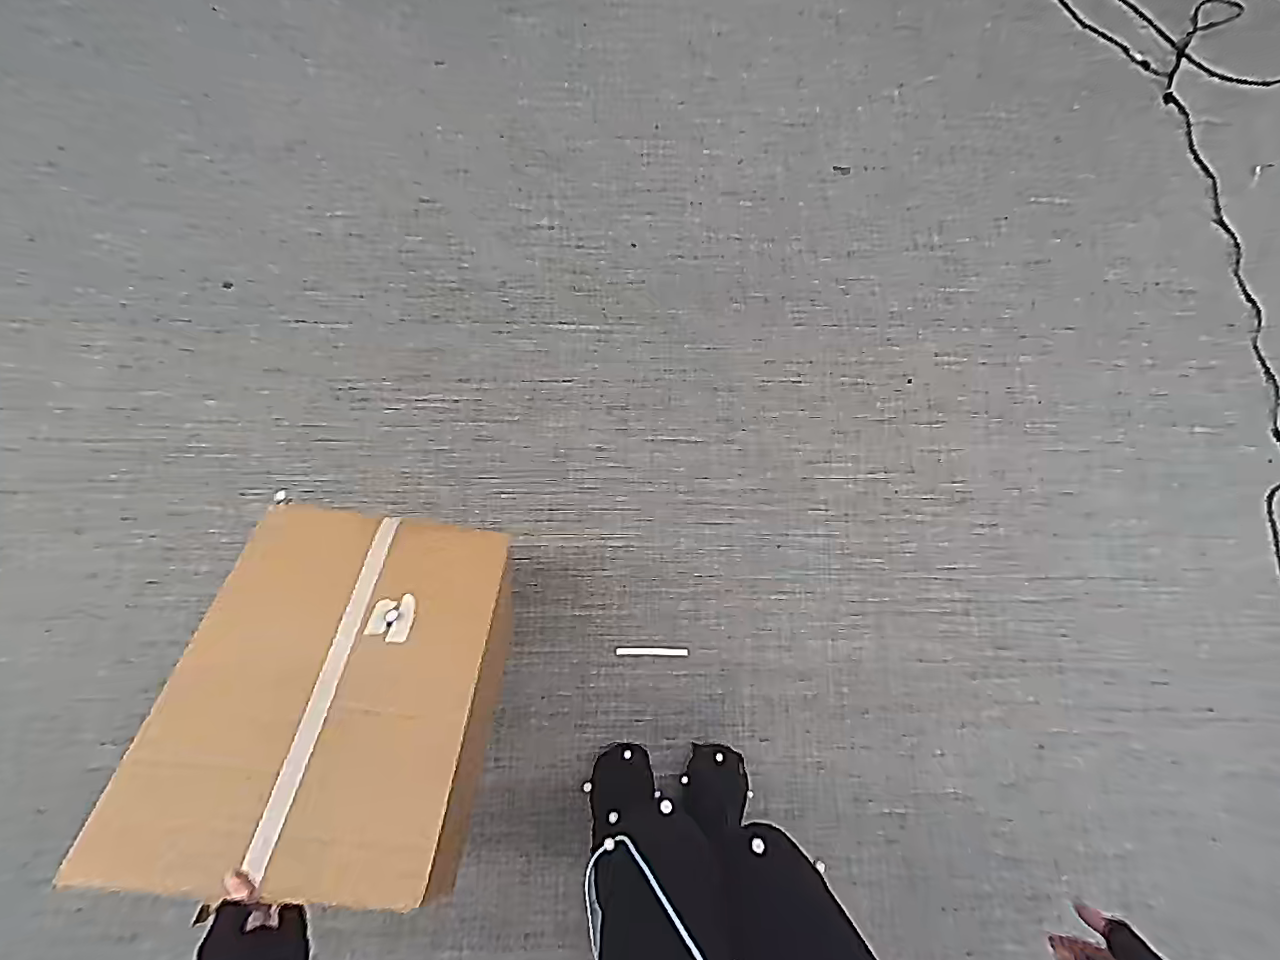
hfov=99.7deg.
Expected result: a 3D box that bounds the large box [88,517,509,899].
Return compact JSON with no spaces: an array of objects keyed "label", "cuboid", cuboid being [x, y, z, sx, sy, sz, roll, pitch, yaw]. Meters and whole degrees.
[{"label":"large box","cuboid":[-0.370,0.315,0.737,0.320,0.320,0.408,9,52,-7]}]
